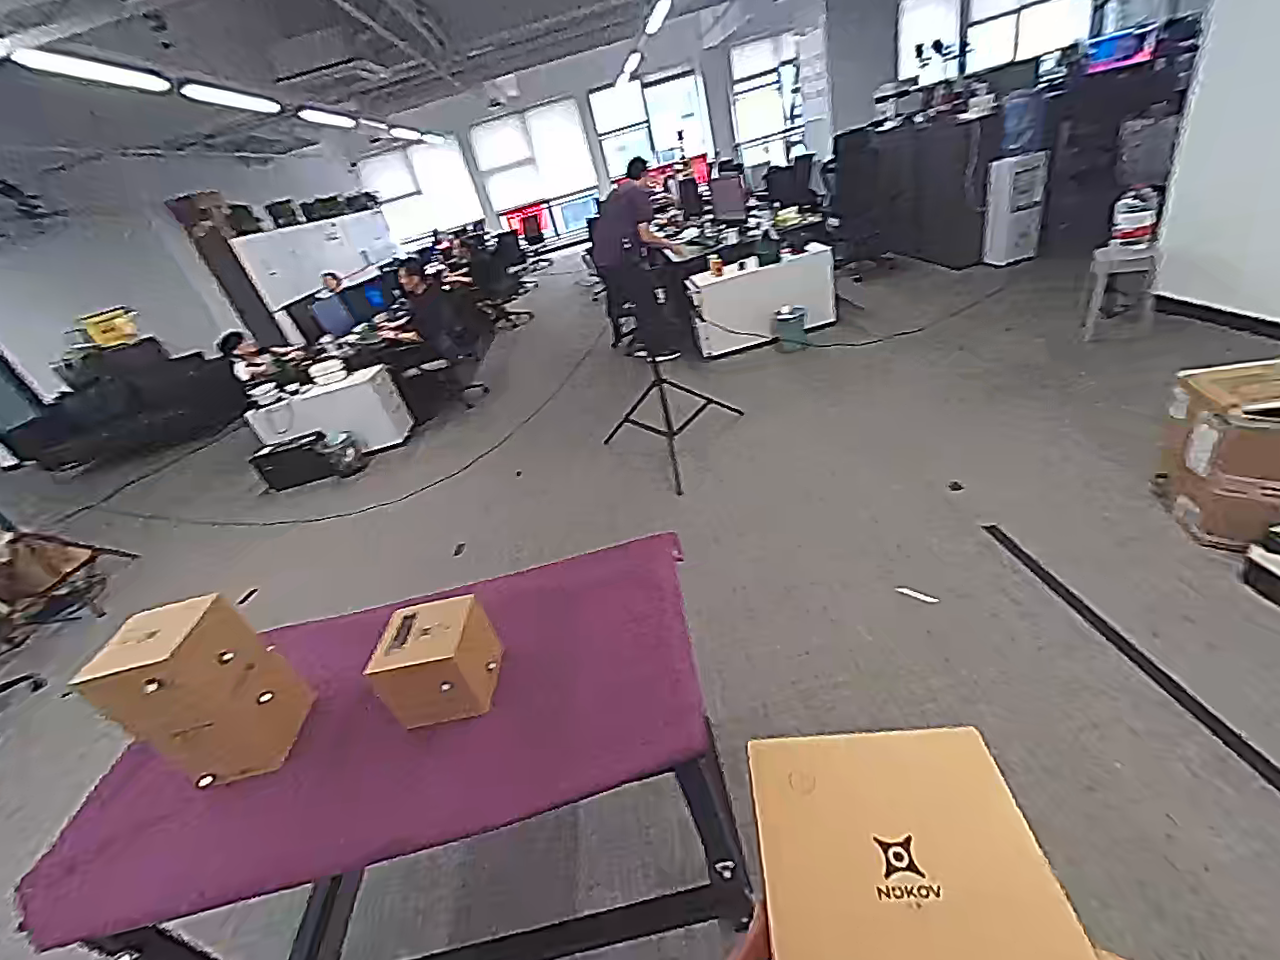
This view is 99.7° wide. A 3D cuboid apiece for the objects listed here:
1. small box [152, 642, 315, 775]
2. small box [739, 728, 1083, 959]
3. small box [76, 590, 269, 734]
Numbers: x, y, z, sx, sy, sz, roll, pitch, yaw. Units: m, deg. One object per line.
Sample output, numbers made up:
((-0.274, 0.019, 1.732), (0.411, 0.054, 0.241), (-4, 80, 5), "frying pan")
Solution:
((-0.803, 0.468, 1.095), (0.168, 0.176, 0.179), (-14, 30, 3), "small box")
((0.161, 0.300, 0.367), (0.168, 0.176, 0.179), (-7, 30, 7), "small box")
((-0.844, 0.337, 1.003), (0.179, 0.176, 0.168), (-15, 31, 2), "small box")
